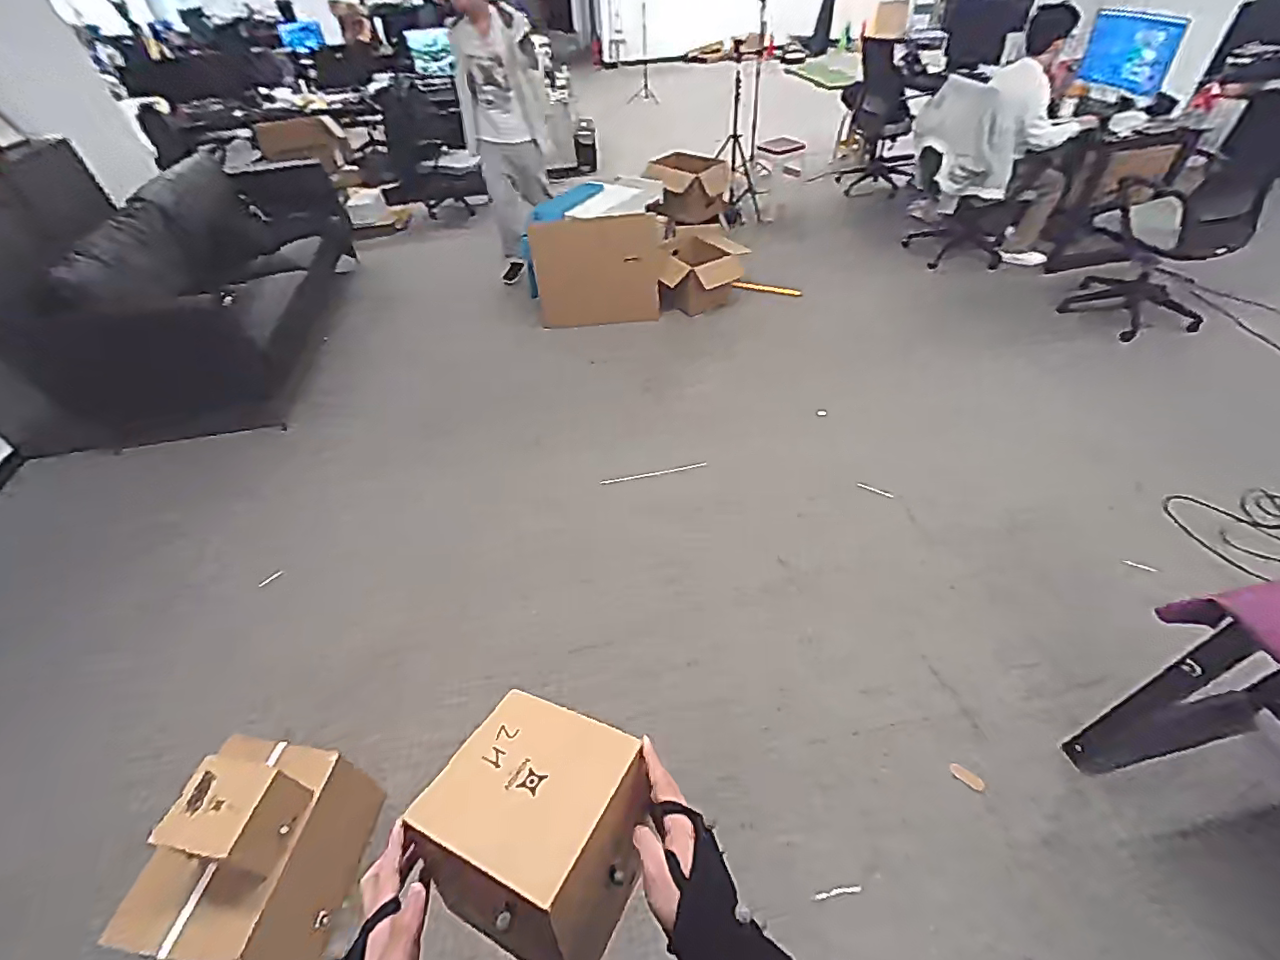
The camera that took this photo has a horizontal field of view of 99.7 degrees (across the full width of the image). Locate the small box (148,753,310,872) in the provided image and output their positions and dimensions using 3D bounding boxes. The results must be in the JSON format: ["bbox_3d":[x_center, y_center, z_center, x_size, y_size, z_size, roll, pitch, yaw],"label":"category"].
[{"bbox_3d":[-0.853,0.705,1.144,0.179,0.176,0.168,6,46,9],"label":"small box"}]
